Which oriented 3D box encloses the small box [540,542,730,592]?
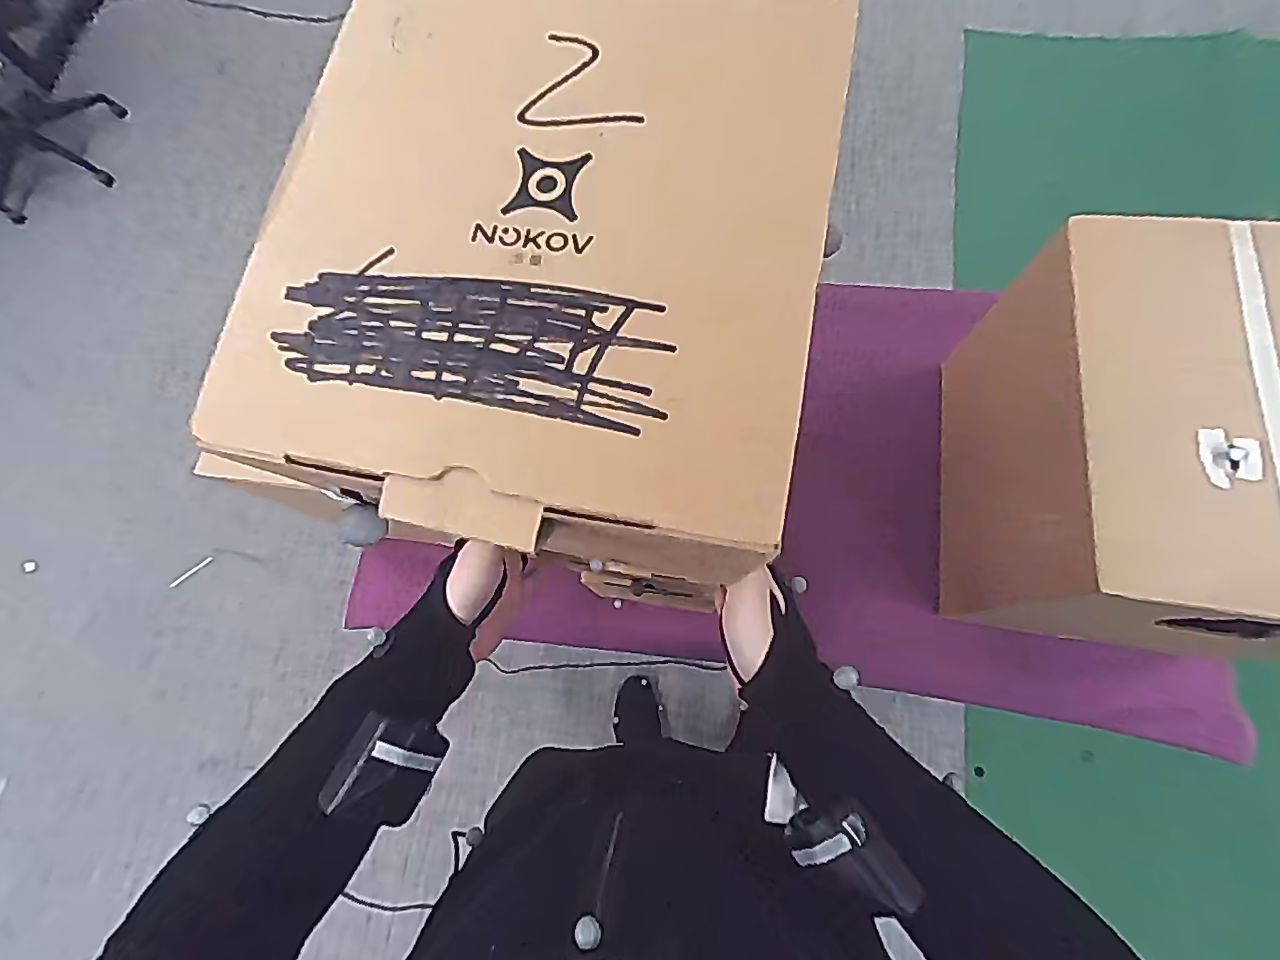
[{"bbox_3d":[0.014,0.012,0.552,0.168,0.176,0.179,8,77,8],"label":"small box"}]

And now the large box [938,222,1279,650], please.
[{"bbox_3d":[0.584,-0.027,0.645,0.320,0.320,0.408,7,74,7],"label":"large box"}]

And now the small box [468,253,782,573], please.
[{"bbox_3d":[-0.001,-0.033,0.397,0.168,0.176,0.179,8,78,7],"label":"small box"}]
